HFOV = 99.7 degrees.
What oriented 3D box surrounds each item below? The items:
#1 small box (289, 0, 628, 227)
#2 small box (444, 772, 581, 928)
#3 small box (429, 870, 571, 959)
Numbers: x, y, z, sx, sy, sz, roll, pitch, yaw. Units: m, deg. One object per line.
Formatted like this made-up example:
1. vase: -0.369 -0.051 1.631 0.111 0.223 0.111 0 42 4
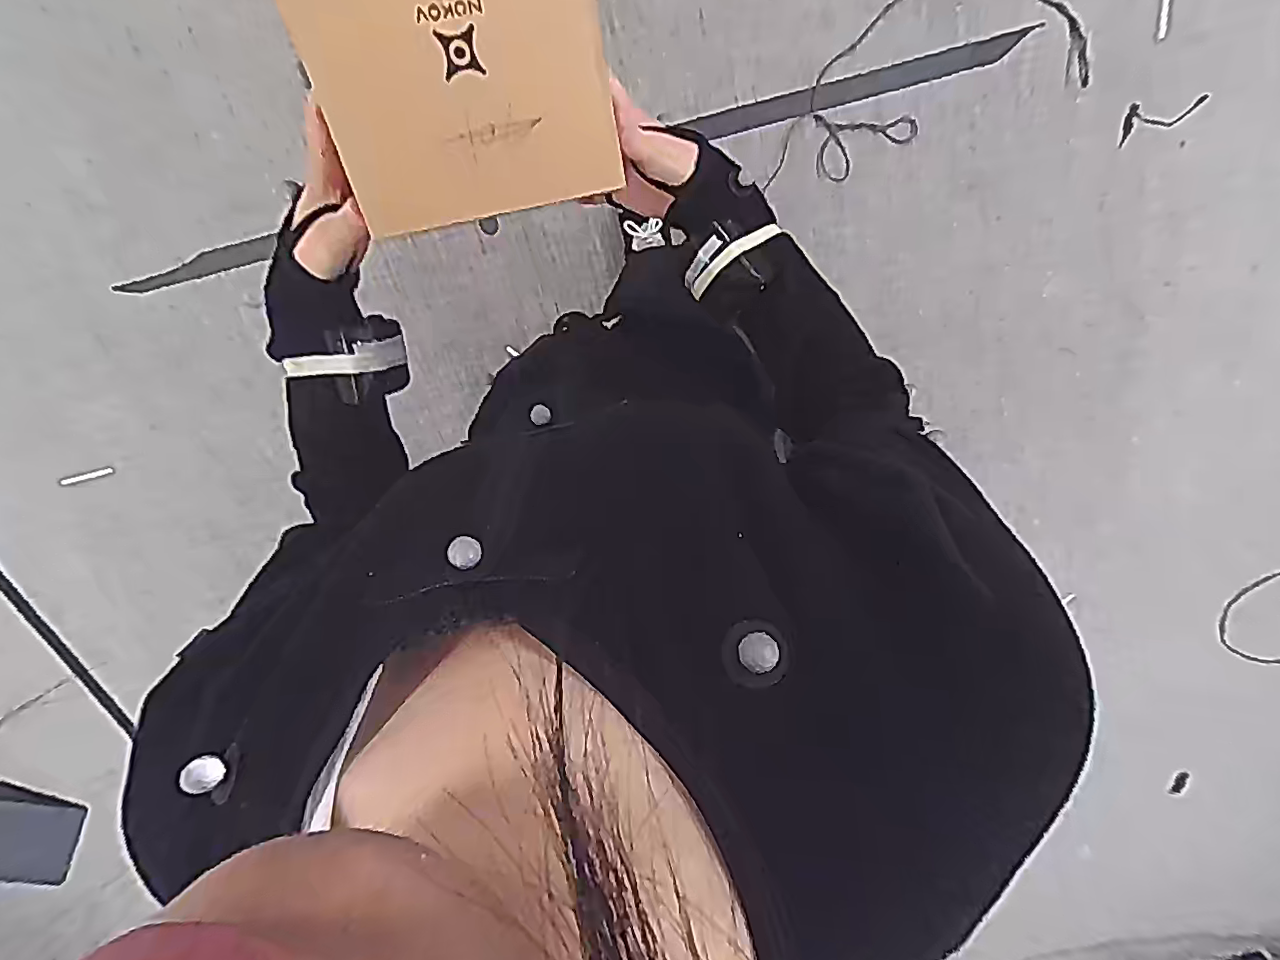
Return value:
1. small box: -0.118 -0.282 0.364 0.168 0.176 0.179 -15 121 -7
2. small box: -0.206 0.640 0.930 0.179 0.176 0.168 -11 112 2
3. small box: -0.198 0.702 0.778 0.179 0.176 0.168 -10 111 1
